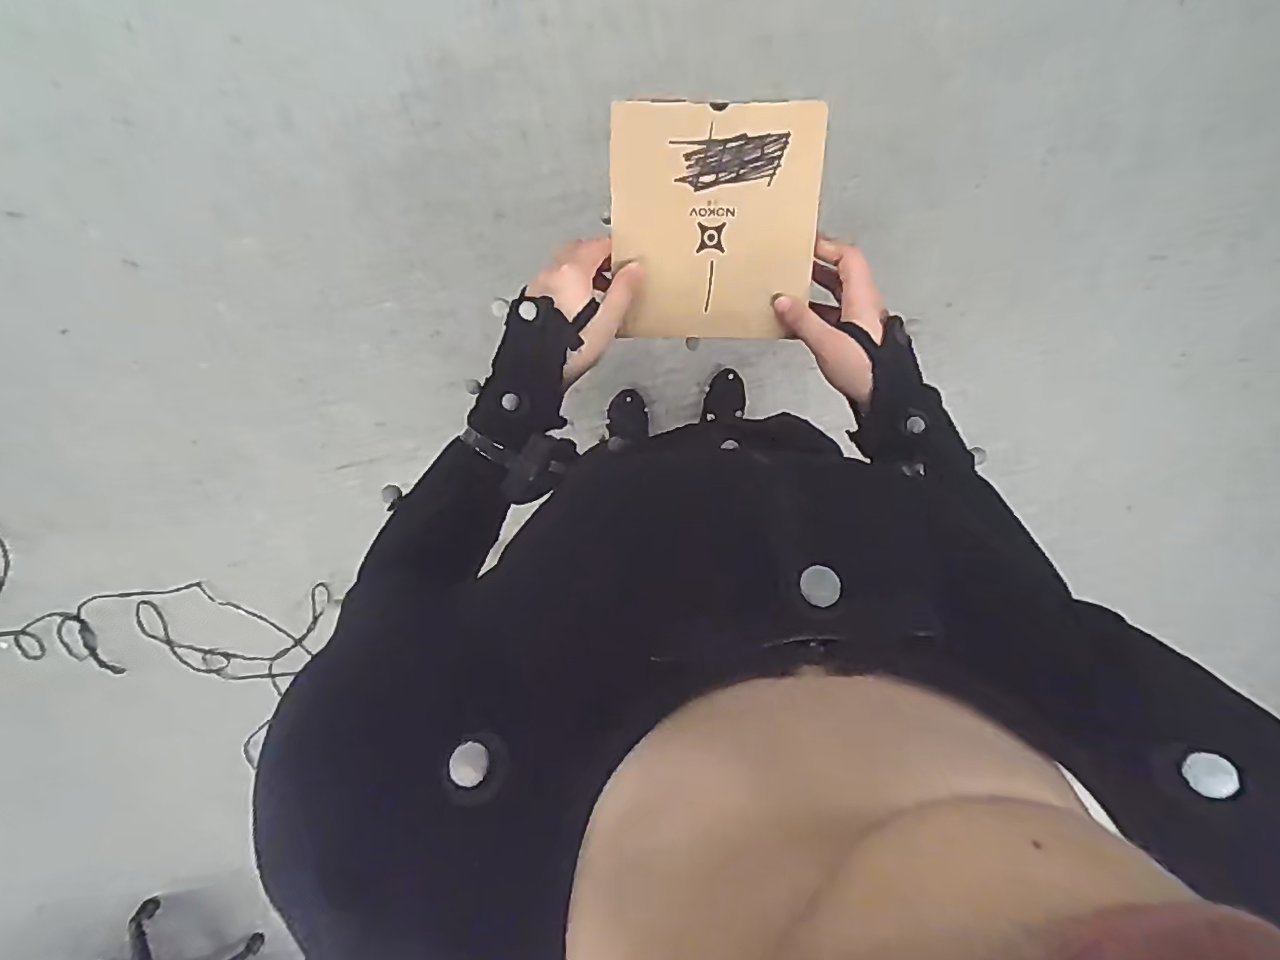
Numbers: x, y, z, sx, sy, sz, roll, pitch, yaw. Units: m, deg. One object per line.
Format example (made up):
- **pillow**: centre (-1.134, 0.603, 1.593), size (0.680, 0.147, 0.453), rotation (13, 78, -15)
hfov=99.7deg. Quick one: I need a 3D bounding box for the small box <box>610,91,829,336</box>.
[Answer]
- **small box**: centre (0.060, -0.228, 0.501), size (0.168, 0.176, 0.179), rotation (1, 108, 2)
